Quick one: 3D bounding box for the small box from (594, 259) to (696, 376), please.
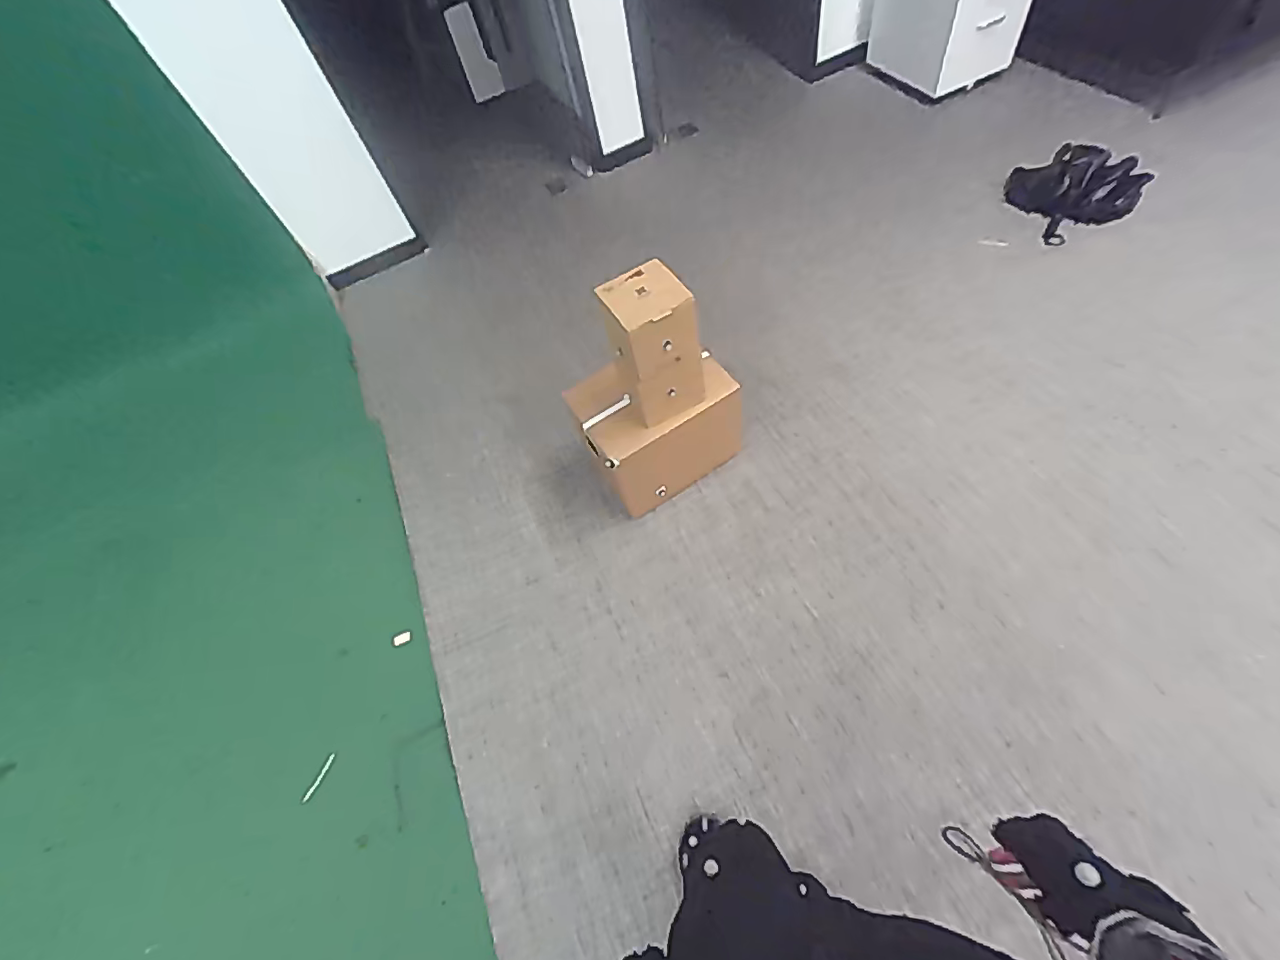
[{"bbox_3d":[0.018,-0.364,1.247,0.168,0.176,0.179,-28,58,-7],"label":"small box"}]

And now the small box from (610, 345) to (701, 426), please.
[{"bbox_3d":[0.046,-0.272,1.379,0.179,0.176,0.168,-28,58,-6],"label":"small box"}]
